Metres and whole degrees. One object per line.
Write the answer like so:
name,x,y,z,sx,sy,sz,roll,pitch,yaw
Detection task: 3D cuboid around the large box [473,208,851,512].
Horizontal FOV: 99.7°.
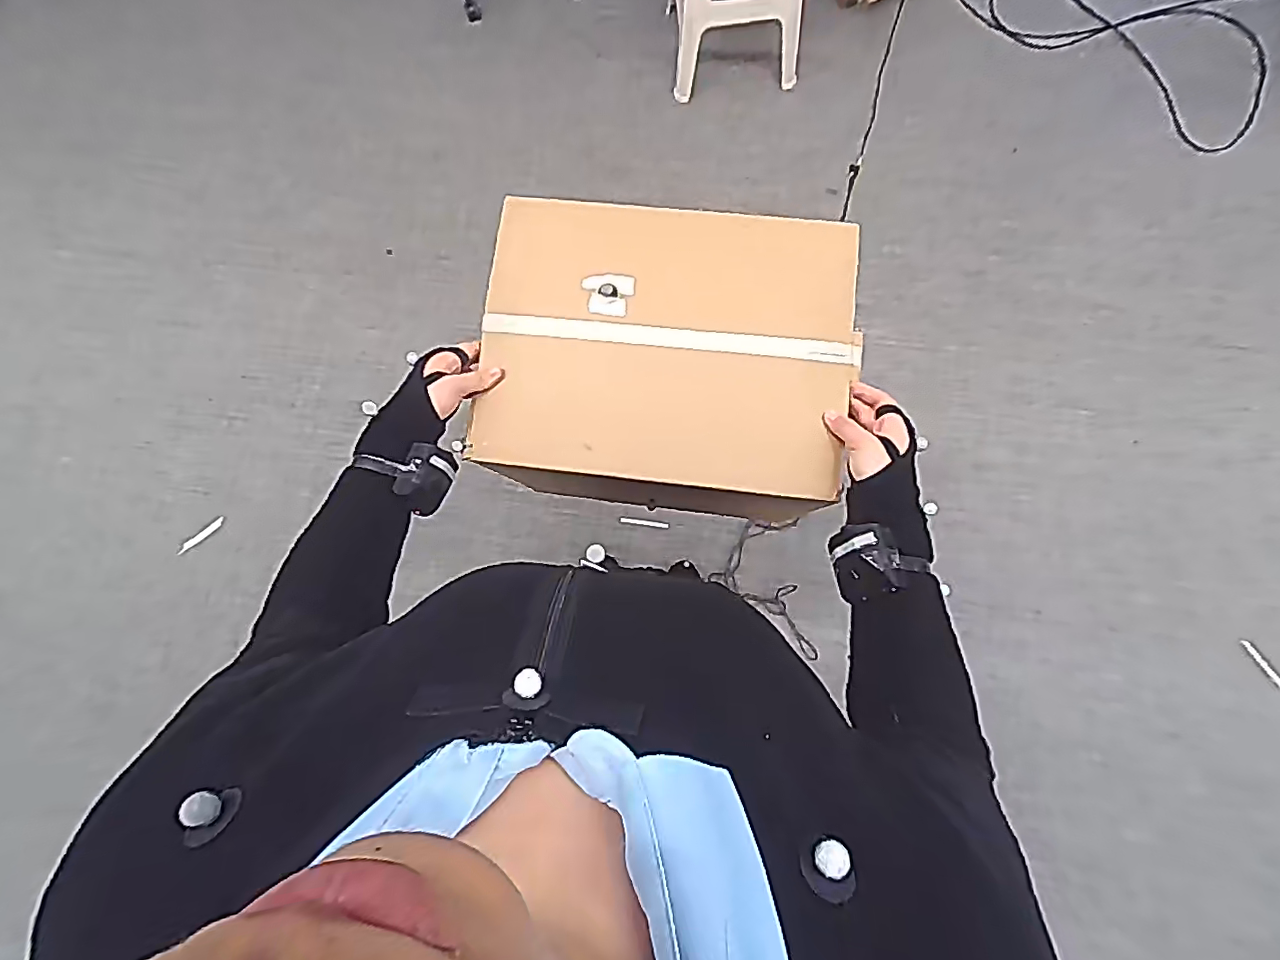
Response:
large box,0.039,-0.134,0.747,0.408,0.320,0.320,6,81,5
